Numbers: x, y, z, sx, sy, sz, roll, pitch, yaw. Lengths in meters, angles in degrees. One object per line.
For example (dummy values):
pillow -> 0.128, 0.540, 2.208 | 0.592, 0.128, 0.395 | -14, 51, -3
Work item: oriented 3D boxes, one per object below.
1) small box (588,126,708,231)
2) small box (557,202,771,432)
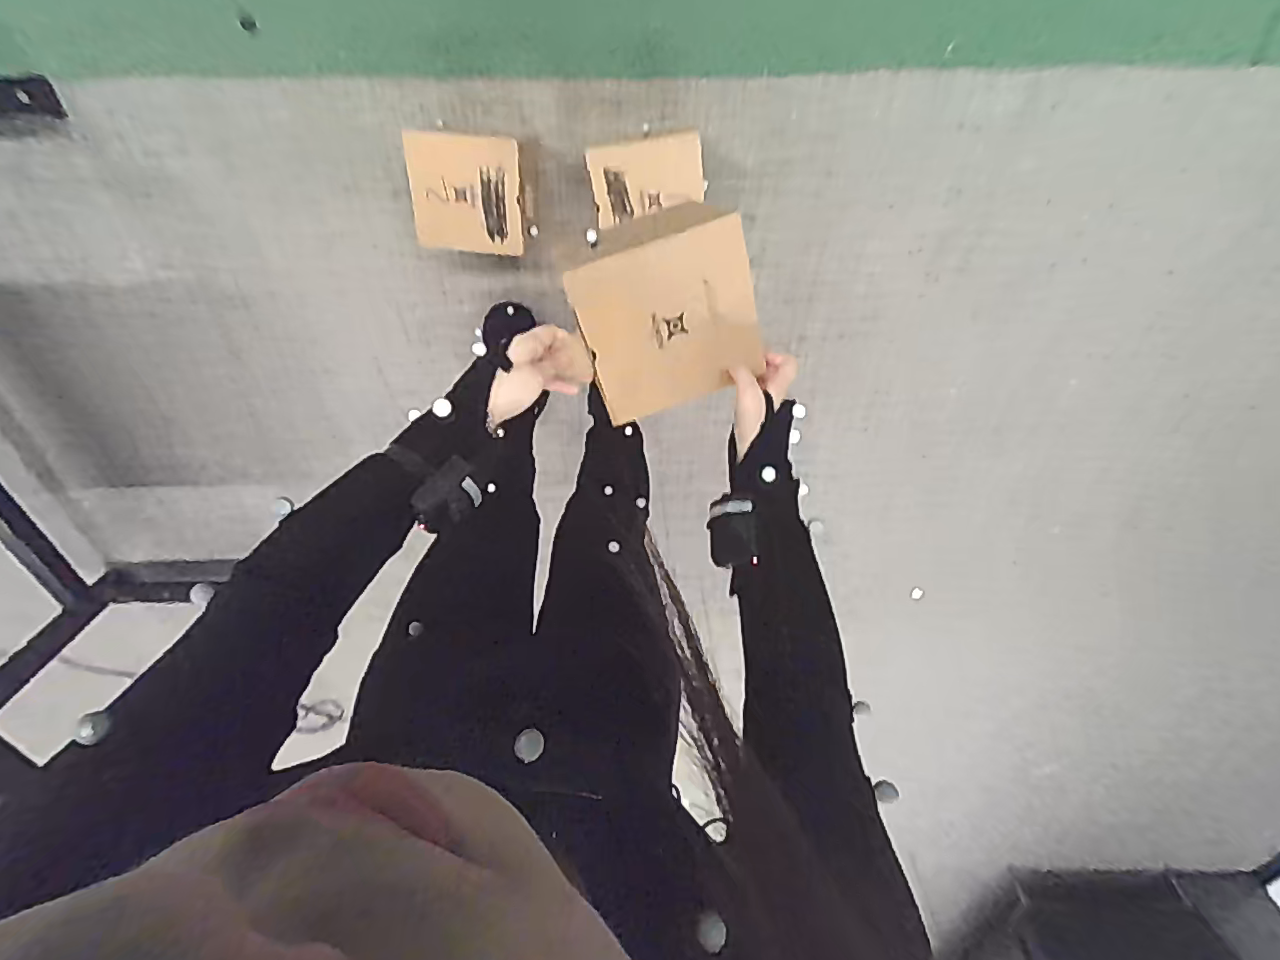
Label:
small box -> 0.019, -0.481, 0.903 | 0.179, 0.176, 0.168 | -7, 126, 4
small box -> 0.018, -0.182, 0.581 | 0.179, 0.176, 0.168 | -20, 123, 0
